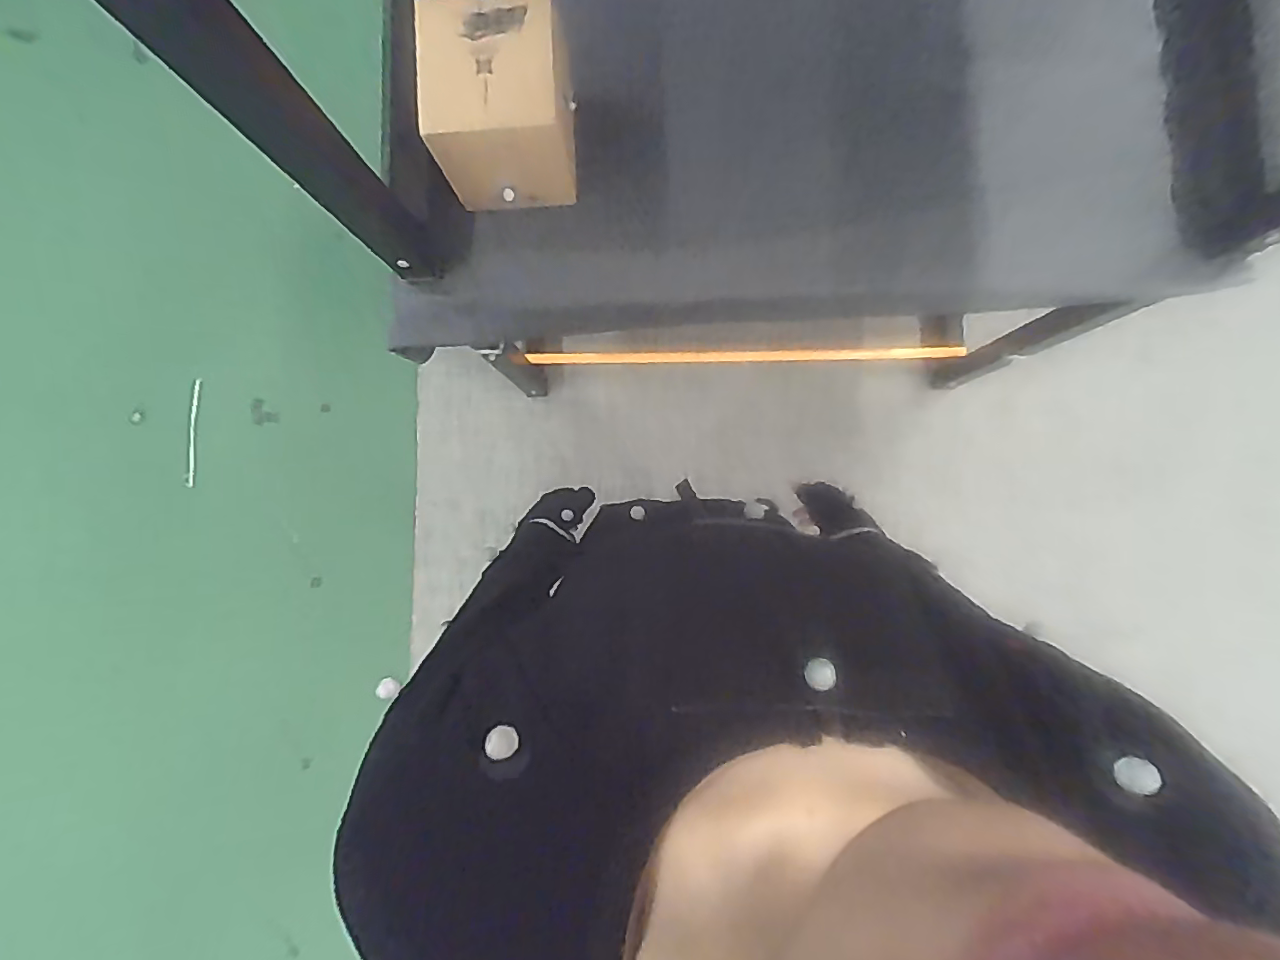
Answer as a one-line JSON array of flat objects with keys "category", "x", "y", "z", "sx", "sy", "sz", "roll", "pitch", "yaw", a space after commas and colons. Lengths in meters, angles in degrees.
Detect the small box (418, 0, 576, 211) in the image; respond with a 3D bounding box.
[{"category": "small box", "x": -0.180, "y": -0.490, "z": 0.721, "sx": 0.168, "sy": 0.176, "sz": 0.179, "roll": -3, "pitch": 86, "yaw": 2}]
